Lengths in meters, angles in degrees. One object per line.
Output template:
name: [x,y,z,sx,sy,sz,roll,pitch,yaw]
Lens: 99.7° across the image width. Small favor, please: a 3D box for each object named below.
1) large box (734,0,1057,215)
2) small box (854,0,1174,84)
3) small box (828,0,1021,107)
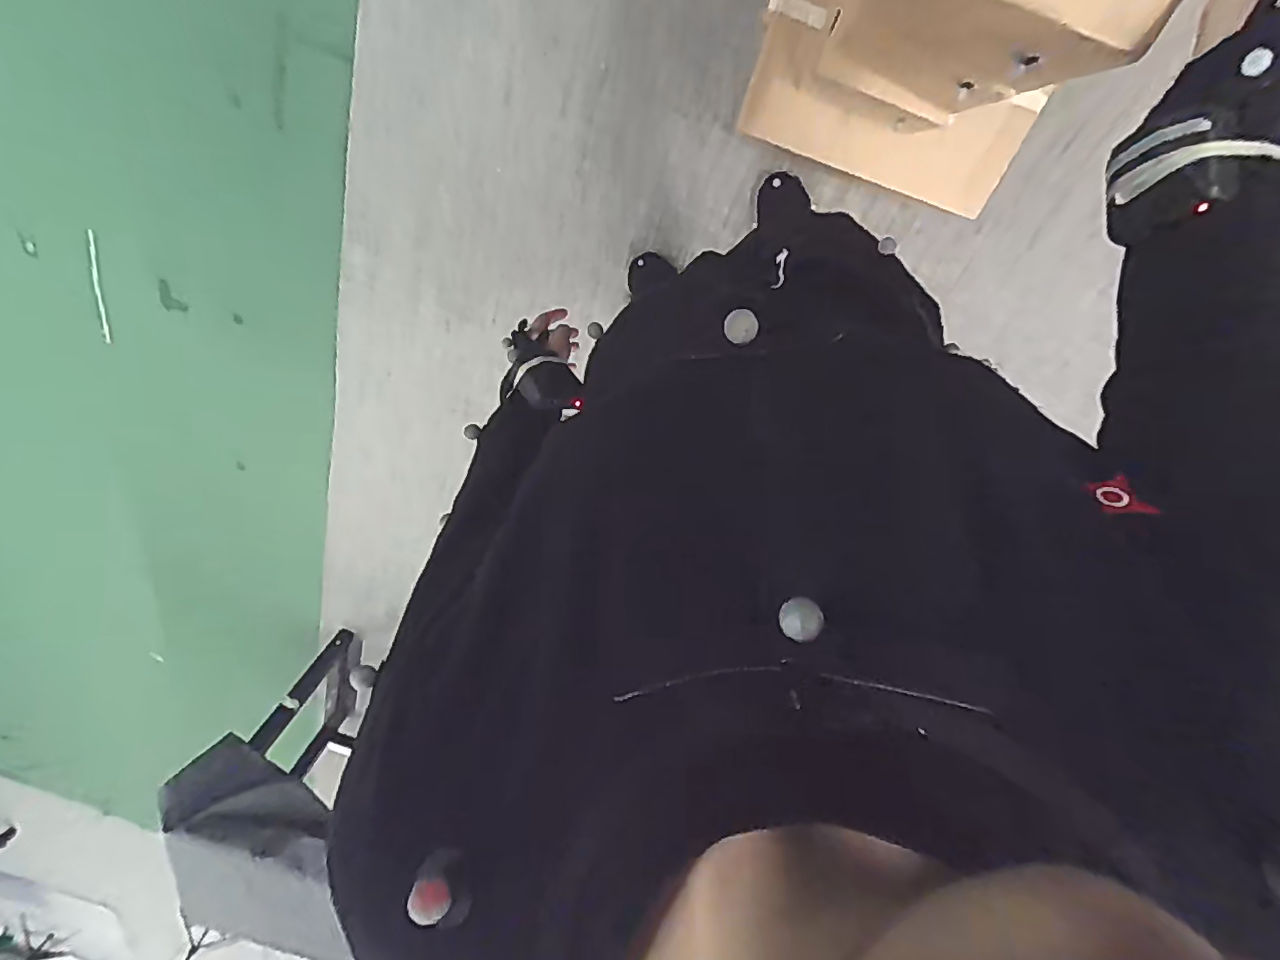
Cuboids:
large box: [0.397,-0.667,0.886,0.408,0.320,0.320,18,121,-3]
small box: [0.285,-0.413,0.387,0.179,0.176,0.168,19,119,-2]
small box: [0.309,-0.493,0.527,0.179,0.176,0.168,22,120,-5]
